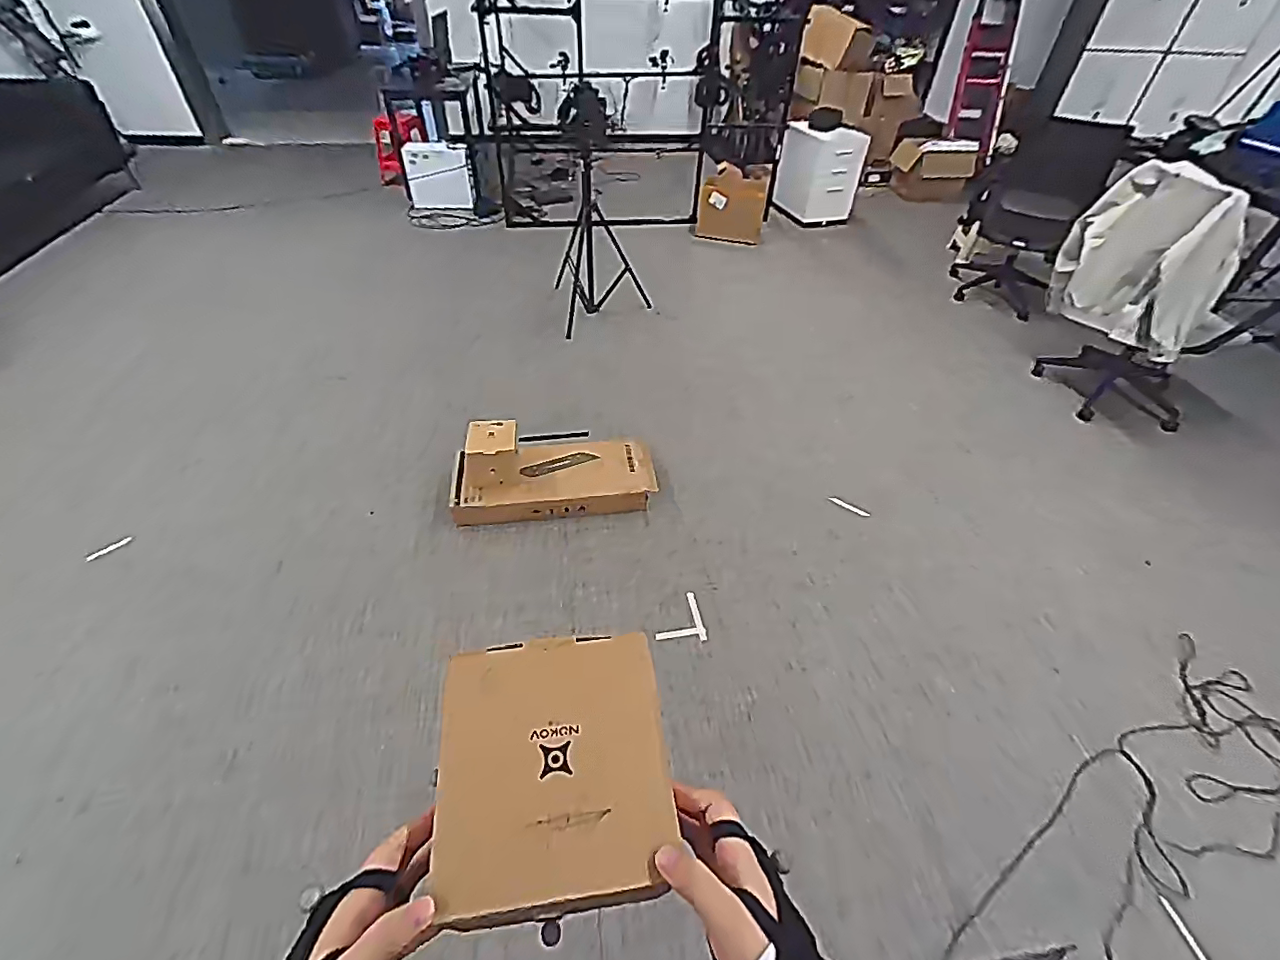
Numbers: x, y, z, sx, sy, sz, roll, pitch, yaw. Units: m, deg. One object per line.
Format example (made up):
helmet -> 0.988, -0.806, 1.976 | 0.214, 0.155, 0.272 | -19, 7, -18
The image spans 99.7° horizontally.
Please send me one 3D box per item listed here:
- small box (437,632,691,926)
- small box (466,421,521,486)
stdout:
small box -> -0.065, 0.252, 0.459 | 0.168, 0.176, 0.179 | -3, 50, -9
small box -> -0.520, -0.090, 1.944 | 0.168, 0.176, 0.179 | -3, 45, -7
